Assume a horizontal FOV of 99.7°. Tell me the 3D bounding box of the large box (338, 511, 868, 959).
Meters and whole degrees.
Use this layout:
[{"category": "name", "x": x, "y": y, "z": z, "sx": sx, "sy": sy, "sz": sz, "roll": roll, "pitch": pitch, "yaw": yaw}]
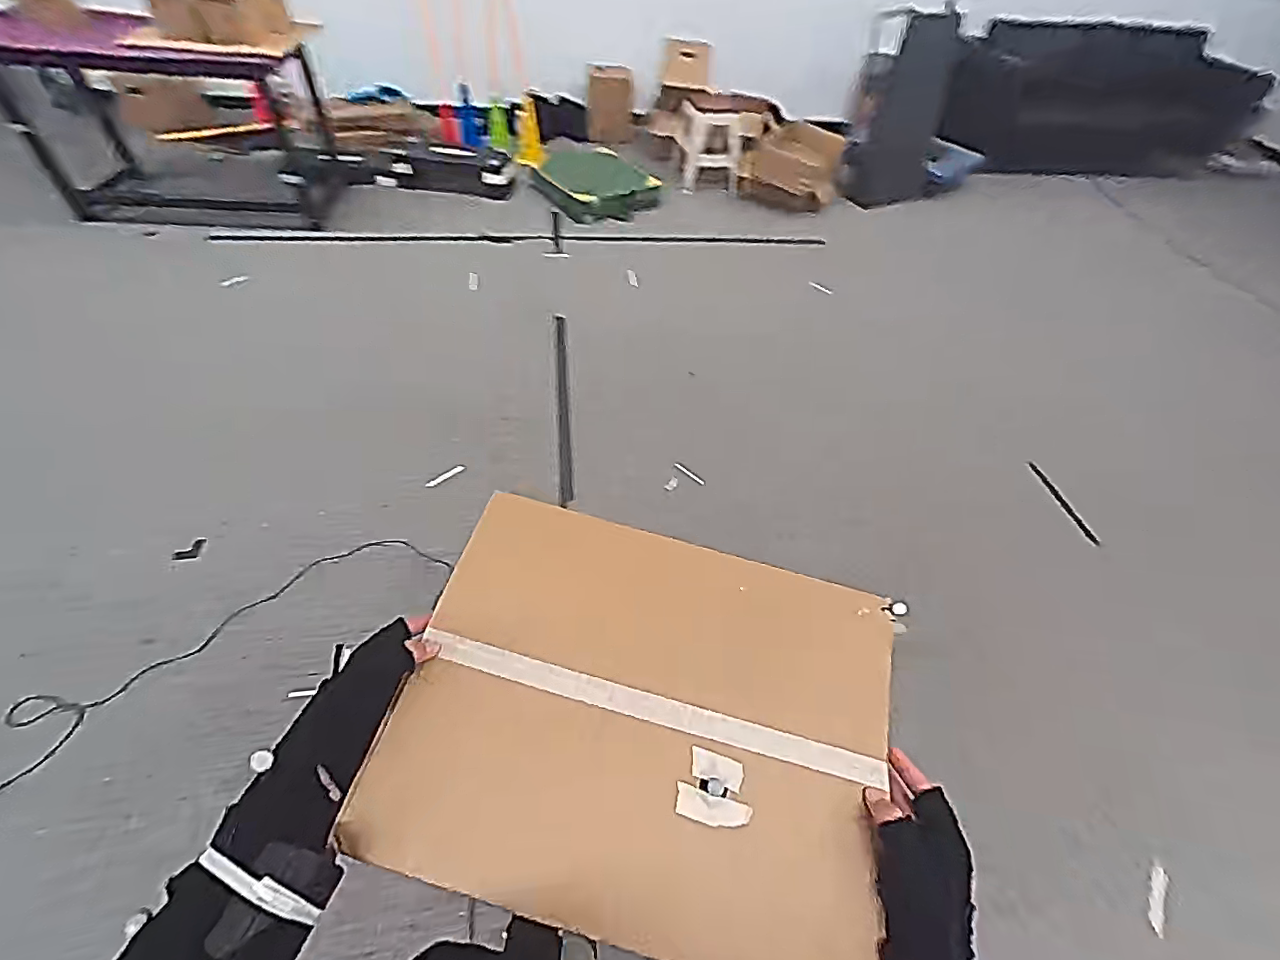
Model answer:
[{"category": "large box", "x": -0.015, "y": 0.276, "z": 0.595, "sx": 0.408, "sy": 0.320, "sz": 0.320, "roll": 14, "pitch": 59, "yaw": 3}]
